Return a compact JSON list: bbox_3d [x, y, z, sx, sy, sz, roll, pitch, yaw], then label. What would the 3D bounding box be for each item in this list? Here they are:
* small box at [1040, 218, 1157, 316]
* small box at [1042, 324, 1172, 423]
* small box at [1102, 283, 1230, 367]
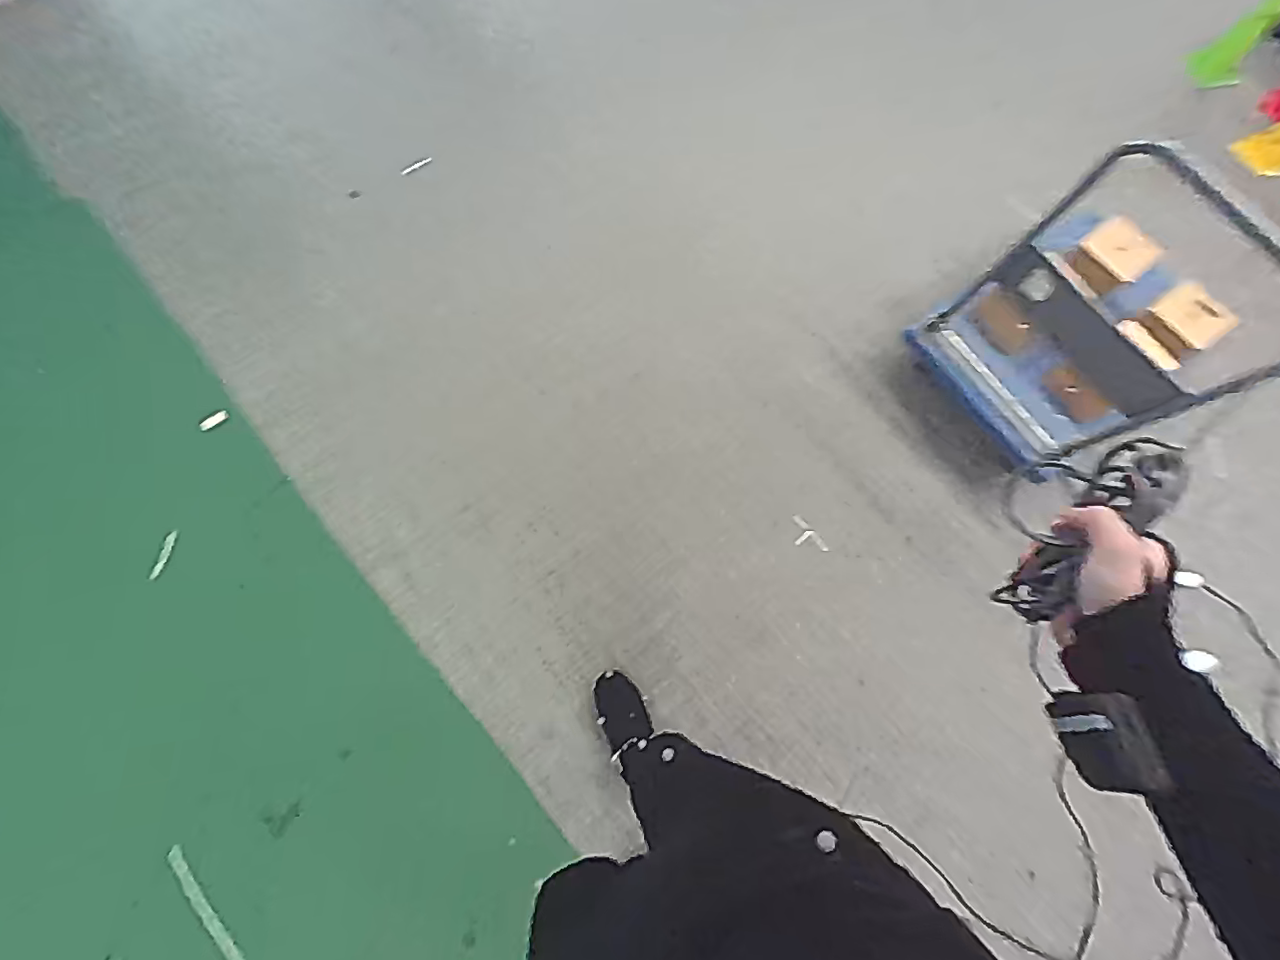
[{"bbox_3d":[1.334,-0.618,1.592,0.179,0.176,0.168,-36,80,-15],"label":"small box"},{"bbox_3d":[1.270,-0.288,1.485,0.179,0.176,0.168,-32,78,-13],"label":"small box"},{"bbox_3d":[1.485,-0.417,1.542,0.179,0.176,0.168,-35,78,-14],"label":"small box"}]
